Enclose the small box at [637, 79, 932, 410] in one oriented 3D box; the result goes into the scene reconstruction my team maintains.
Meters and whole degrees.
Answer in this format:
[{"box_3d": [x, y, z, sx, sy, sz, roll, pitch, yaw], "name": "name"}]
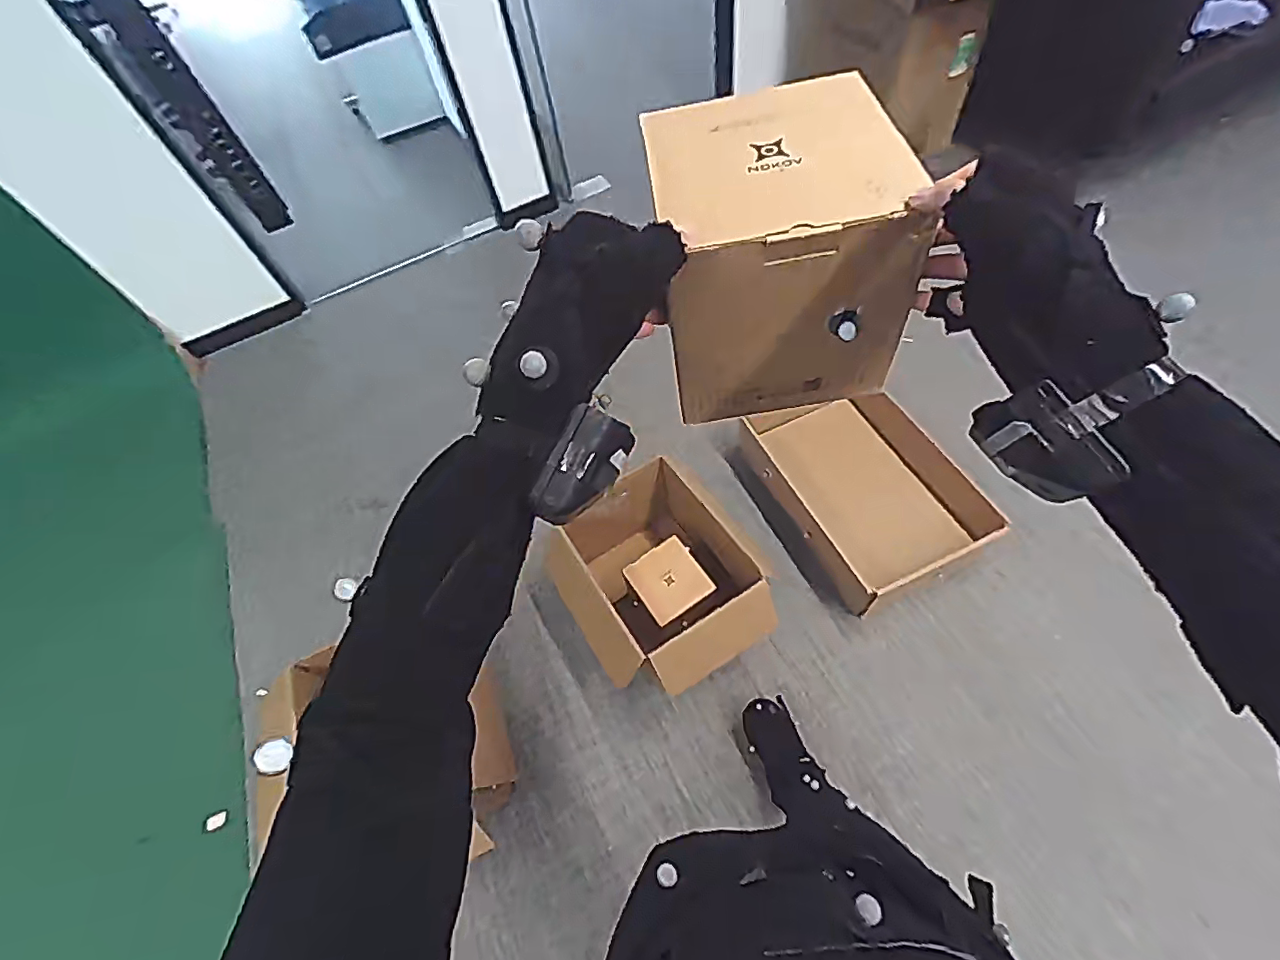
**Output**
[{"box_3d": [0.096, -0.173, 0.432, 0.168, 0.176, 0.179, -9, 57, 3], "name": "small box"}]
